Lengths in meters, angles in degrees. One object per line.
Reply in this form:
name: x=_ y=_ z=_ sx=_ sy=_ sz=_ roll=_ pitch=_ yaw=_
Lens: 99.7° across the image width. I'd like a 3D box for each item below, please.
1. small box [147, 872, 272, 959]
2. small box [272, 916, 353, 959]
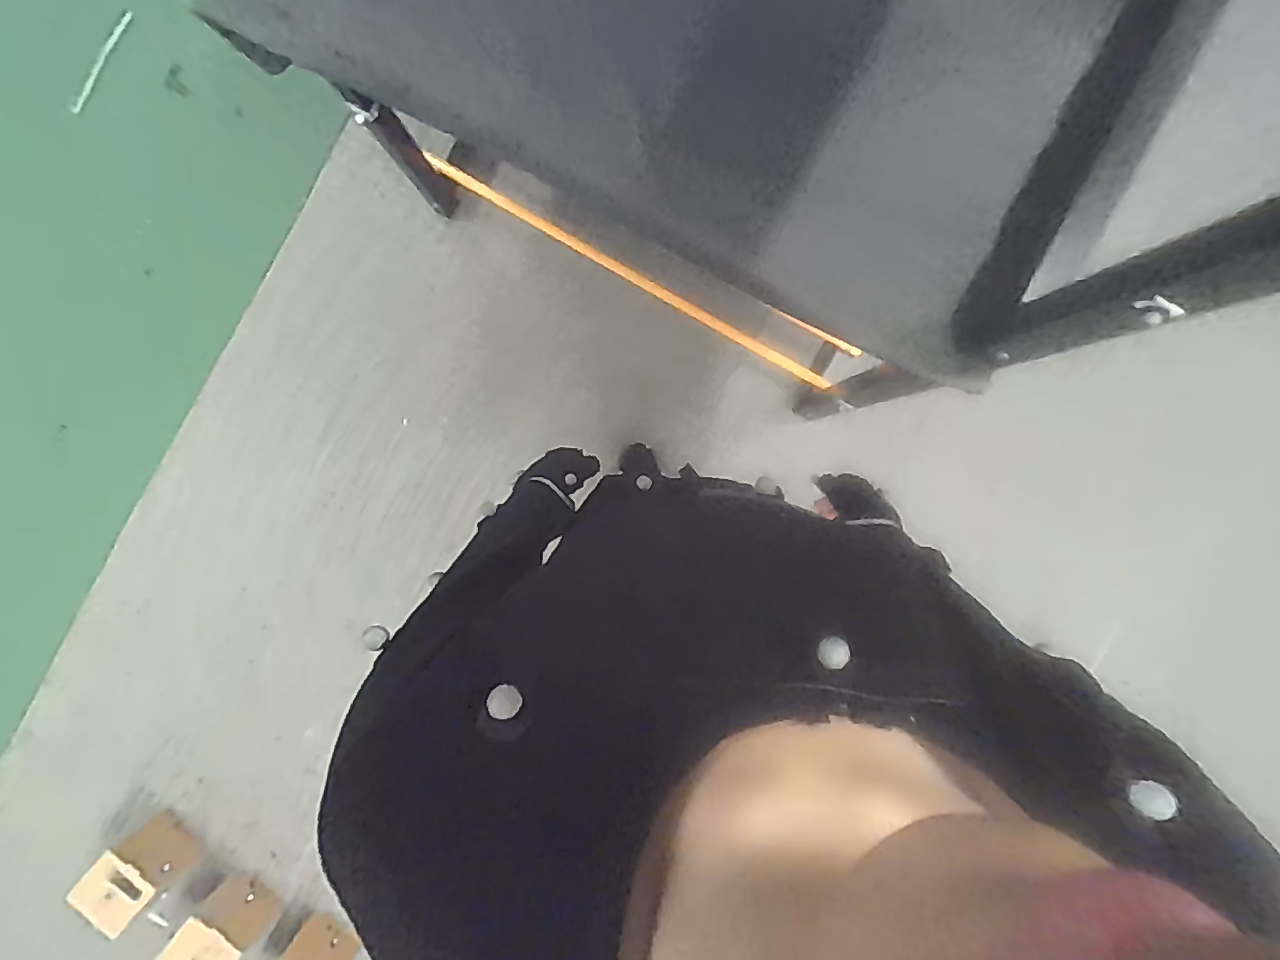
small box: x=-1.122 y=1.194 z=1.413 sx=0.168 sy=0.176 sz=0.179 roll=39 pitch=90 yaw=-1
small box: x=-0.897 y=1.318 z=1.418 sx=0.168 sy=0.176 sz=0.179 roll=31 pitch=90 yaw=-1
